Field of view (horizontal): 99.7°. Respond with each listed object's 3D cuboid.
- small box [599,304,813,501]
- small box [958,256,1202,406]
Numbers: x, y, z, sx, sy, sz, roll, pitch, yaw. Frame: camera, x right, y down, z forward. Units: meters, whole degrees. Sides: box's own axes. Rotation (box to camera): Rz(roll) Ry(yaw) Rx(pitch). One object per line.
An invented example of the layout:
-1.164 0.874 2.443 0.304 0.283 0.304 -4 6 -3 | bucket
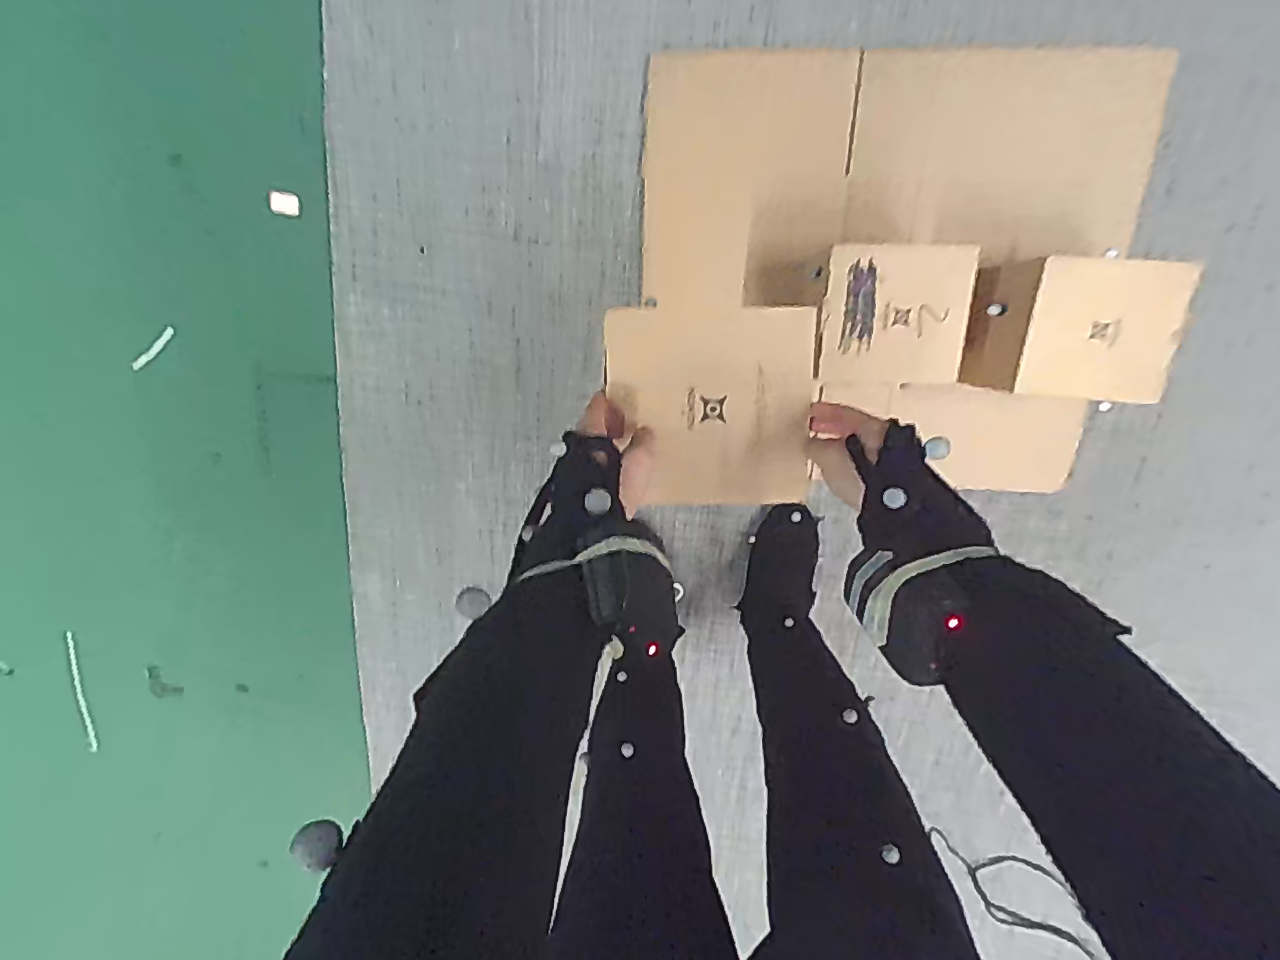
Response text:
0.052 -0.079 0.532 0.179 0.176 0.168 -1 103 -2 | small box
0.563 -0.197 0.725 0.179 0.176 0.168 5 106 4 | small box
